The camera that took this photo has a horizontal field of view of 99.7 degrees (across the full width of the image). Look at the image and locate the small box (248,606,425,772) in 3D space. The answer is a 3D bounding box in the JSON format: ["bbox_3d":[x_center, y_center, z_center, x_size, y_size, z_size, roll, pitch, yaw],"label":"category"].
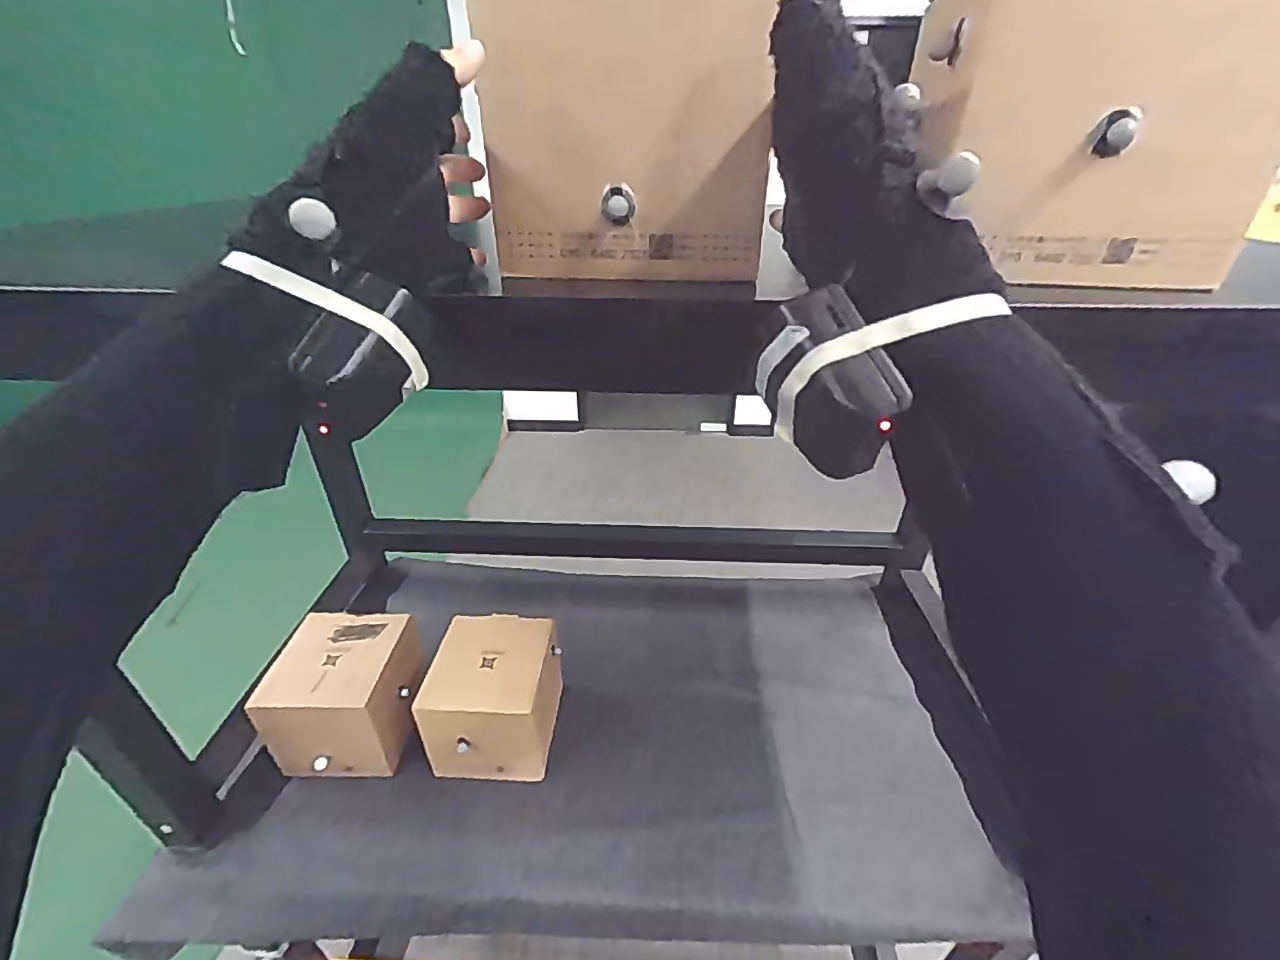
[{"bbox_3d":[-0.450,0.320,0.840,0.168,0.176,0.179,0,32,0],"label":"small box"}]

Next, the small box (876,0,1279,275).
[{"bbox_3d":[0.272,-0.240,0.362,0.168,0.176,0.179,7,32,10],"label":"small box"}]

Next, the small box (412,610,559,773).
[{"bbox_3d":[-0.223,0.325,0.839,0.168,0.176,0.179,2,31,2],"label":"small box"}]
